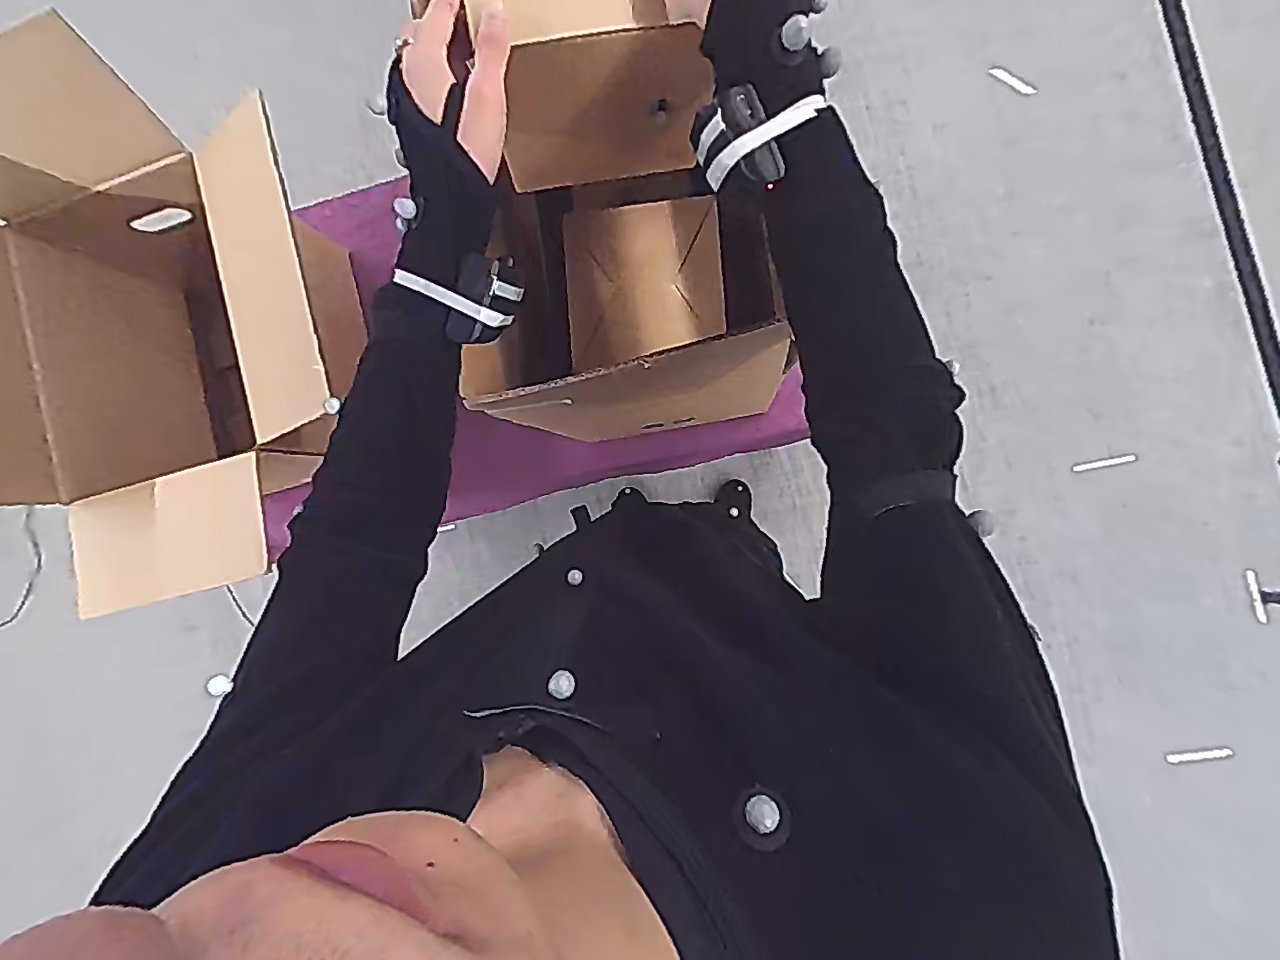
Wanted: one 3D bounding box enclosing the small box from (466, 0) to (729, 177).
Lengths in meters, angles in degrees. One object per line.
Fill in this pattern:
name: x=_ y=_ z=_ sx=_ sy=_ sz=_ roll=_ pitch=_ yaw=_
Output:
small box: x=-0.041 y=-0.378 z=0.437 sx=0.179 sy=0.176 sz=0.168 roll=-10 pitch=89 yaw=-2
